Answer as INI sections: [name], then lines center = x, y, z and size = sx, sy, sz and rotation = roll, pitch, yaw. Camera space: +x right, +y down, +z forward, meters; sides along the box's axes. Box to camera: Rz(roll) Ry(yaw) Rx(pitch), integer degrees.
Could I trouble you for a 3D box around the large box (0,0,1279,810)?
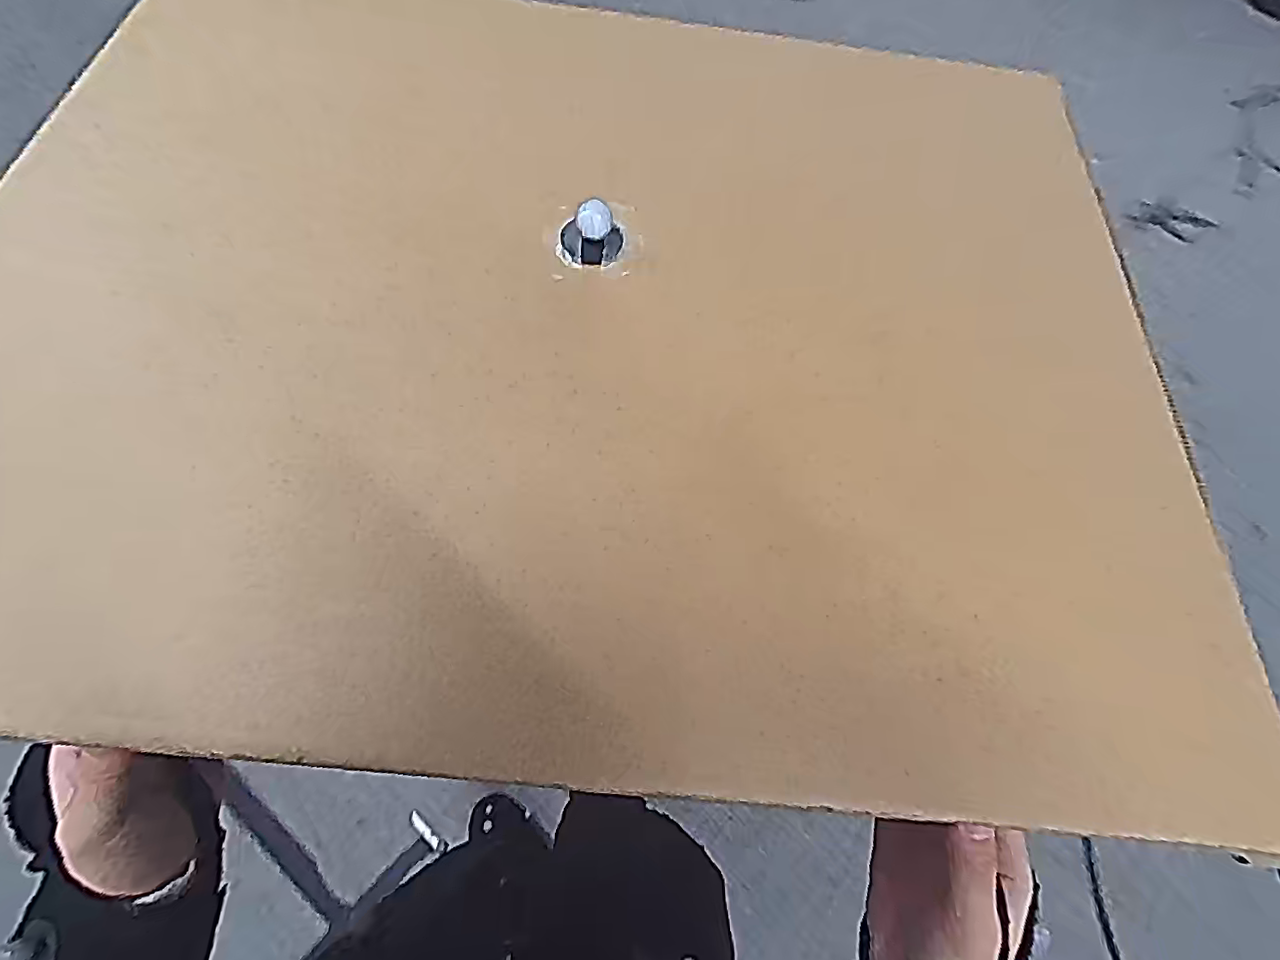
[large box]
center = -0.018, -0.023, 0.324
size = 0.408, 0.320, 0.320
rotation = 7, 68, -1
